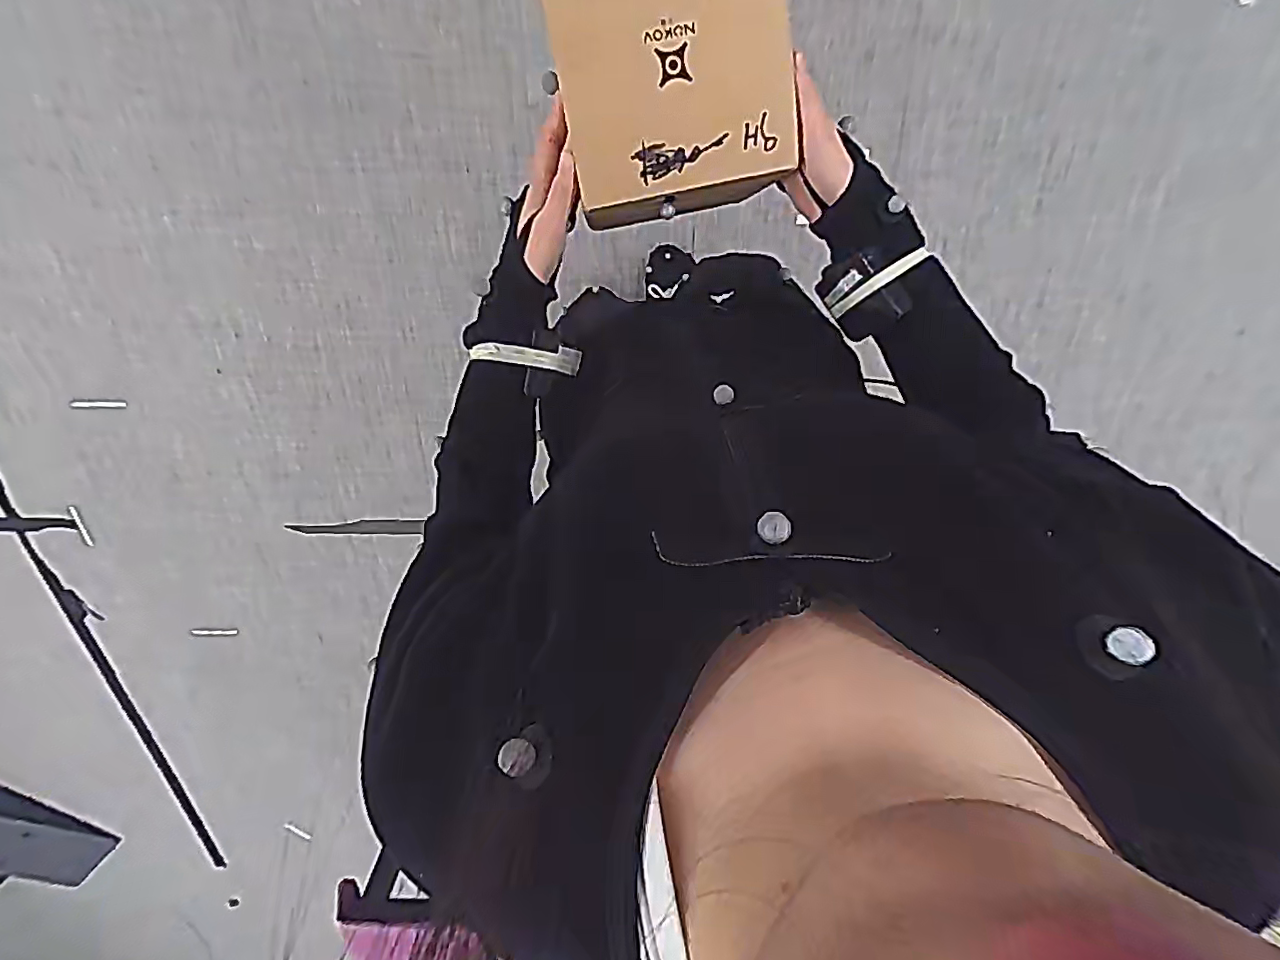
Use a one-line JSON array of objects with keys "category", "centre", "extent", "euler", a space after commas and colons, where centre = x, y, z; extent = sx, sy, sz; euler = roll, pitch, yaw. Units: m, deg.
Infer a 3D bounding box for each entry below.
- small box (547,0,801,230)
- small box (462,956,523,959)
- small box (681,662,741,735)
[{"category": "small box", "centre": [0.020, -0.321, 0.446], "extent": [0.168, 0.176, 0.179], "euler": [-11, 110, 1]}, {"category": "small box", "centre": [-0.379, 1.291, 1.306], "extent": [0.179, 0.176, 0.168], "euler": [1, 117, -1]}, {"category": "small box", "centre": [0.237, 0.742, 1.850], "extent": [0.179, 0.176, 0.168], "euler": [2, 115, 0]}]
